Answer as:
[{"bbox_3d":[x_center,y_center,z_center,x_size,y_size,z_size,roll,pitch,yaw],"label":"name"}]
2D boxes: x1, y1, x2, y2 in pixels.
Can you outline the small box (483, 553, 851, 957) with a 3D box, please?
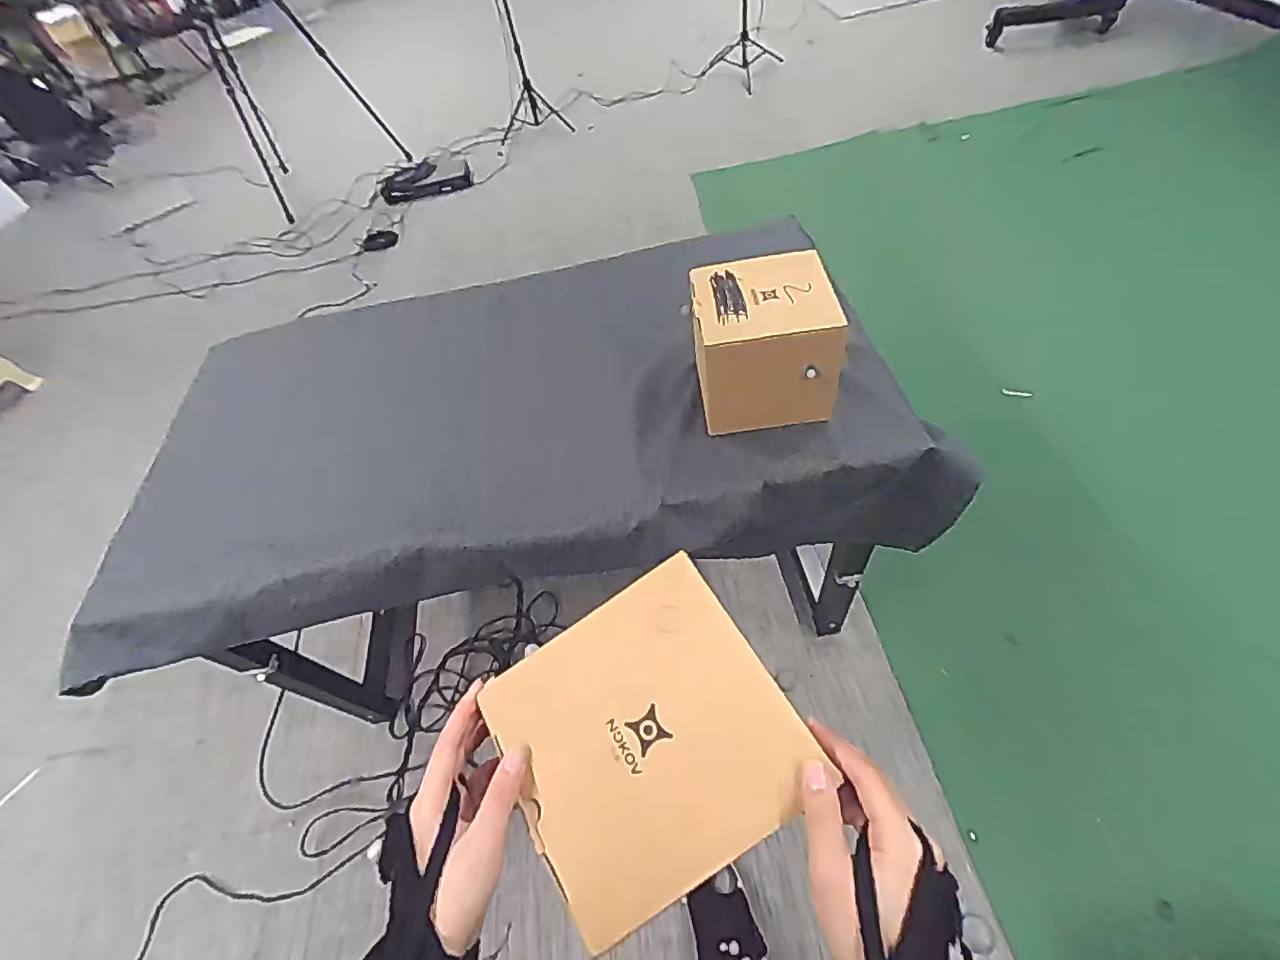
[{"bbox_3d":[0.023,0.183,0.404,0.179,0.176,0.168,-35,66,-1],"label":"small box"}]
